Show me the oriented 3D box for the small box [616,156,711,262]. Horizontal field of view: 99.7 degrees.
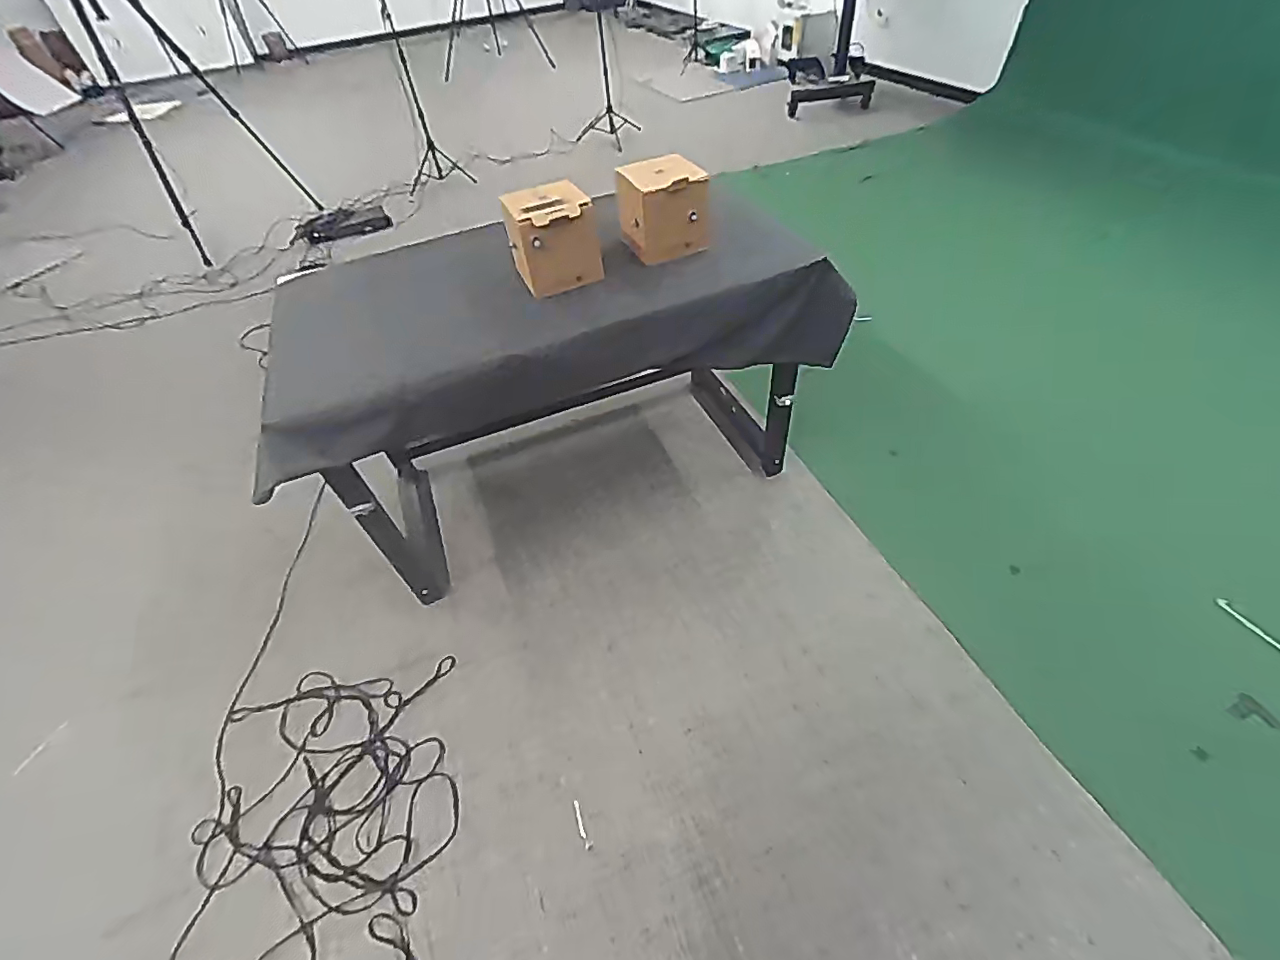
[{"bbox_3d":[0.056,-0.628,1.265,0.168,0.176,0.179,-20,48,-13],"label":"small box"}]
